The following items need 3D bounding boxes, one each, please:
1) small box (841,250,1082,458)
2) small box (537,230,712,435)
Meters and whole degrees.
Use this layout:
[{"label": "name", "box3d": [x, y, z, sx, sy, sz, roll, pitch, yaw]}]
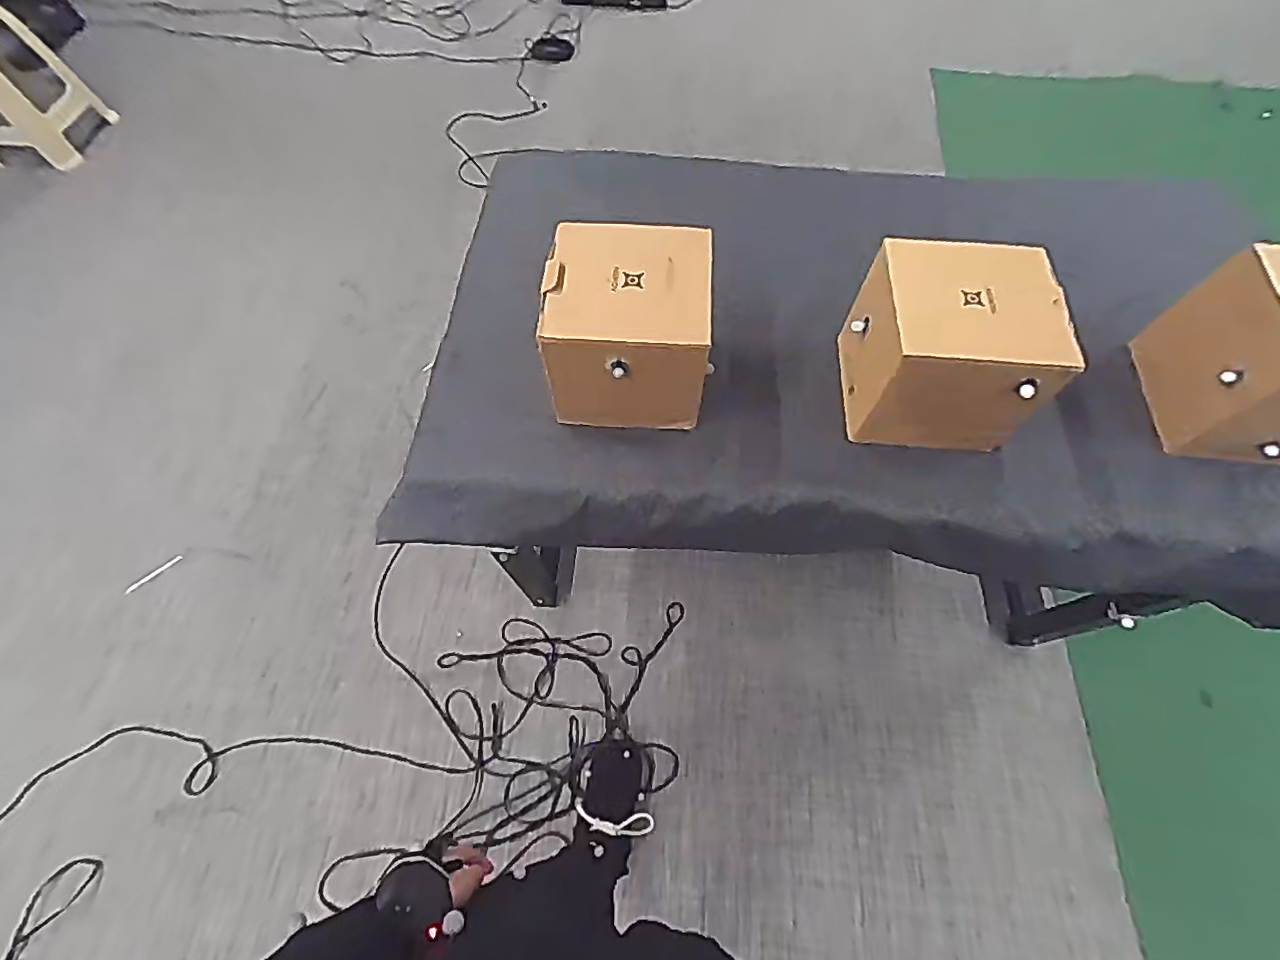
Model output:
[{"label": "small box", "box3d": [0.344, -0.138, 0.627, 0.179, 0.176, 0.168, 5, 63, 2]}, {"label": "small box", "box3d": [-0.012, -0.166, 0.640, 0.179, 0.176, 0.168, 4, 64, 0]}]
